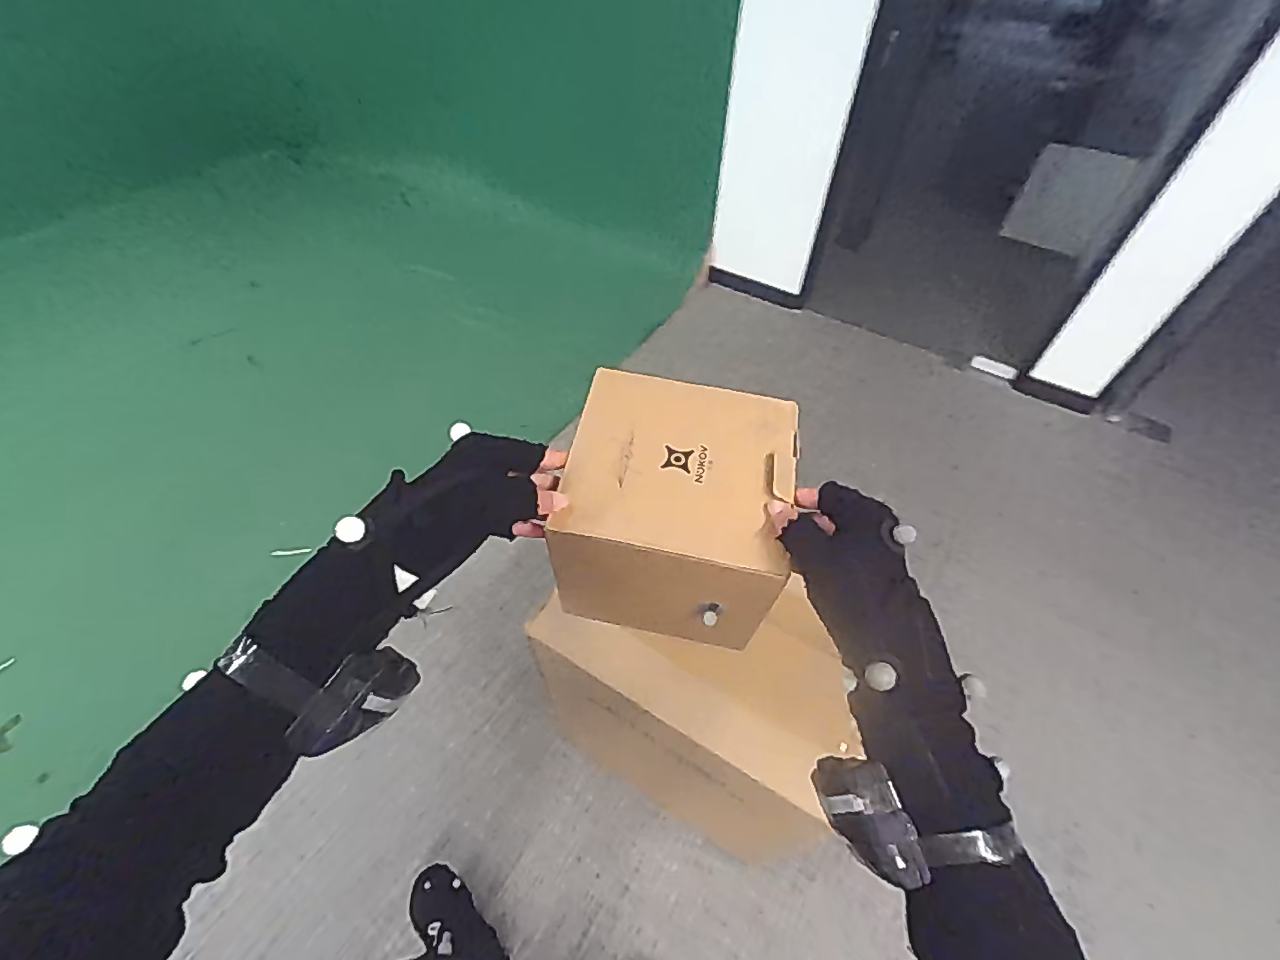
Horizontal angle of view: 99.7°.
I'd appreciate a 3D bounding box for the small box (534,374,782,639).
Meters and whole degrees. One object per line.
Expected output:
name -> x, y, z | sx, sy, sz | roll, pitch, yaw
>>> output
small box -> 0.021, 0.031, 0.489 | 0.179, 0.176, 0.168 | 8, 55, 5
